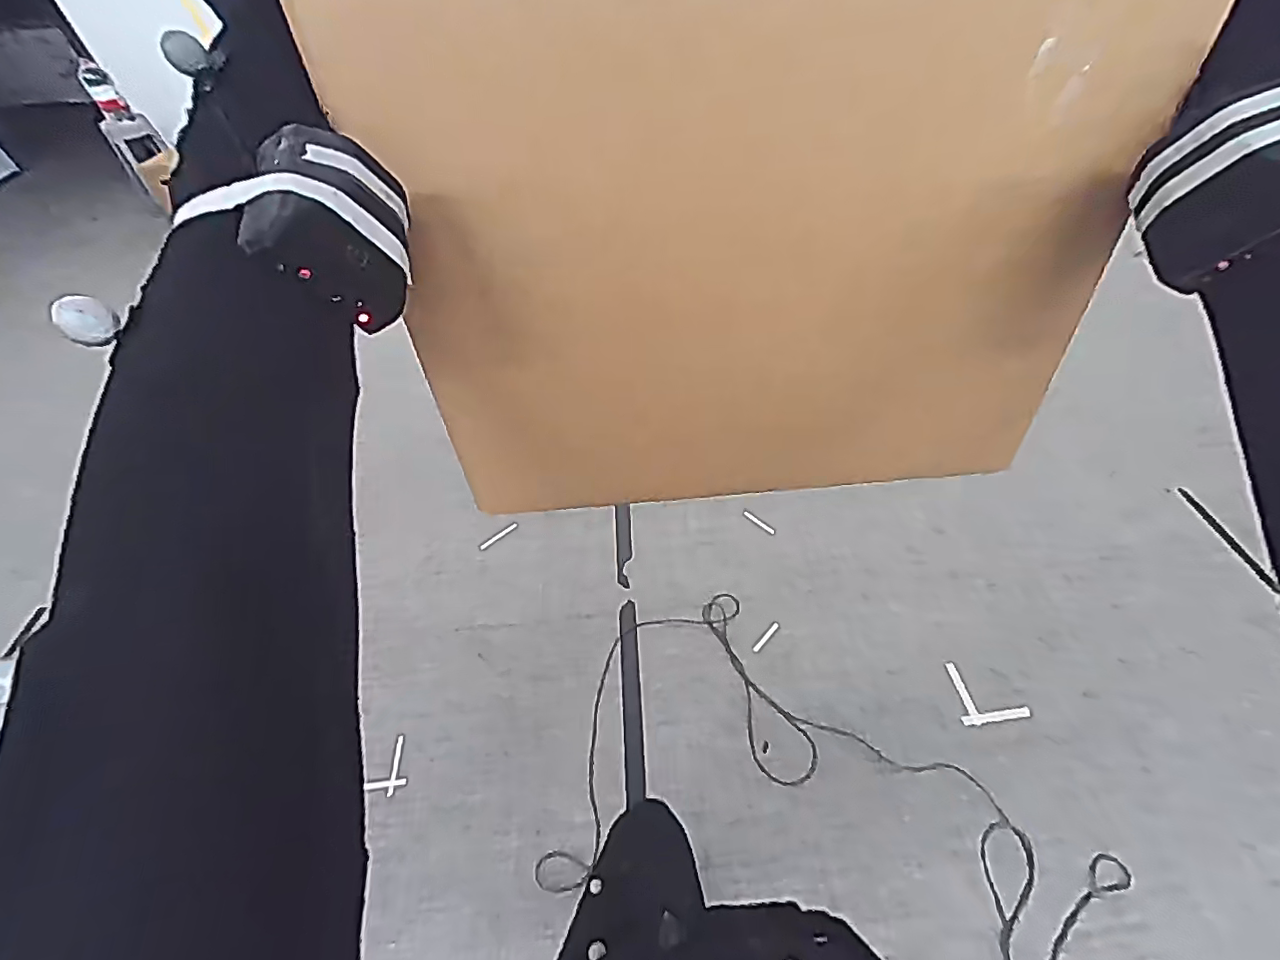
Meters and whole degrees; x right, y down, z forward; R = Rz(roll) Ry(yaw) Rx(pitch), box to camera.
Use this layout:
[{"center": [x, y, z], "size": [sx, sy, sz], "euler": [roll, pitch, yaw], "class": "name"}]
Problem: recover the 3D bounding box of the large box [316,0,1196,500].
[{"center": [0.057, -0.209, 0.430], "size": [0.408, 0.320, 0.320], "euler": [-5, 41, 0], "class": "large box"}]
